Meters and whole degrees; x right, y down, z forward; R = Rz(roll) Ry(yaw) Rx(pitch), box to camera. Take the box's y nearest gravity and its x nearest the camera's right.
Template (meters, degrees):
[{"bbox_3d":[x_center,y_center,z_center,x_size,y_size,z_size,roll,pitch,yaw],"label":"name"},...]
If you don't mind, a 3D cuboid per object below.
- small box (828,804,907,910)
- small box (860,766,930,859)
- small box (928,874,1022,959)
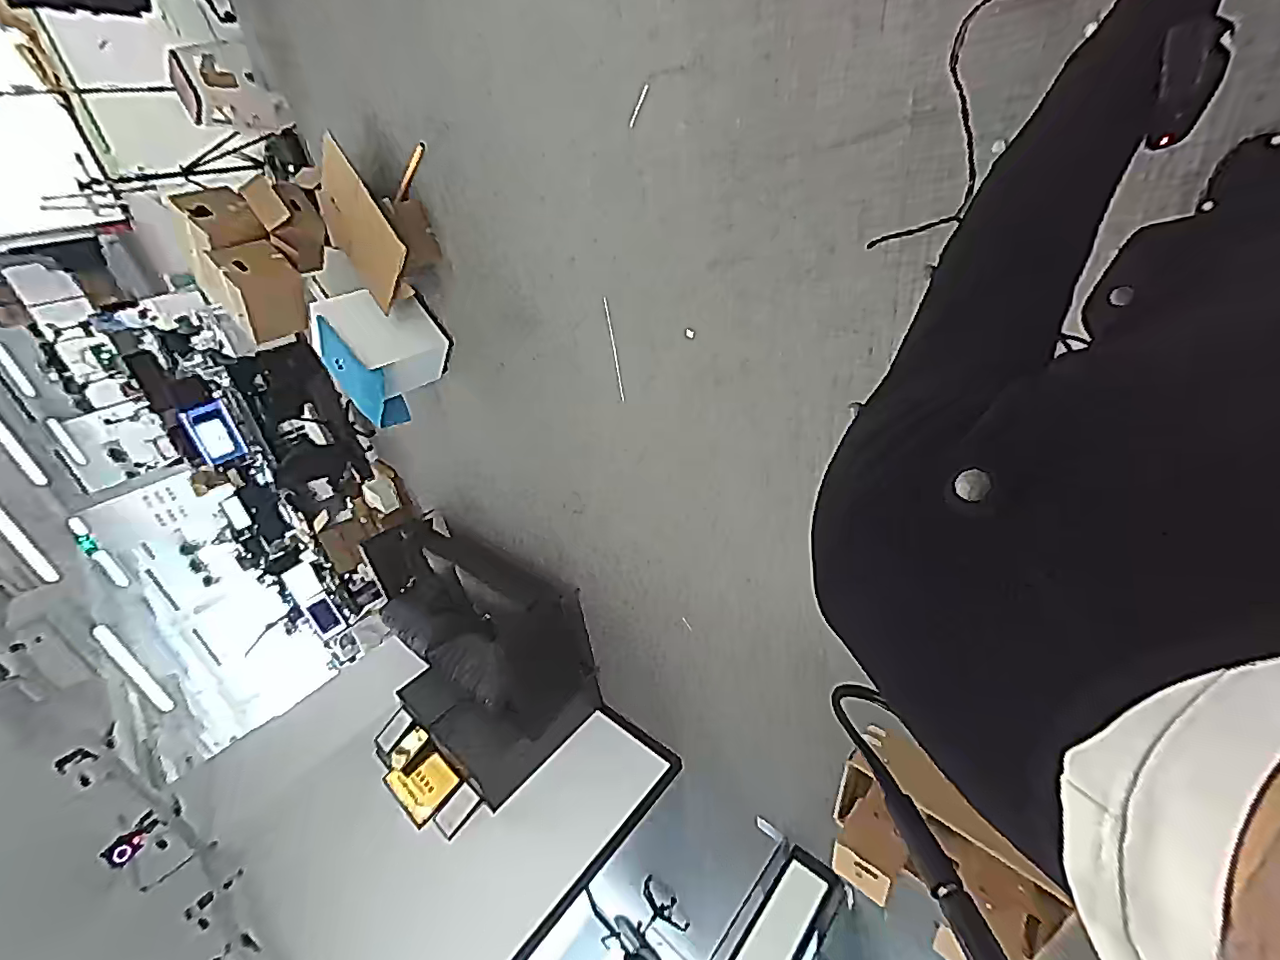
[{"bbox_3d":[0.695,1.141,1.650,0.168,0.176,0.179,21,130,39],"label":"small box"},{"bbox_3d":[0.812,1.078,1.748,0.168,0.176,0.179,26,132,36],"label":"small box"},{"bbox_3d":[0.913,1.239,1.475,0.168,0.176,0.179,21,130,37],"label":"small box"}]
